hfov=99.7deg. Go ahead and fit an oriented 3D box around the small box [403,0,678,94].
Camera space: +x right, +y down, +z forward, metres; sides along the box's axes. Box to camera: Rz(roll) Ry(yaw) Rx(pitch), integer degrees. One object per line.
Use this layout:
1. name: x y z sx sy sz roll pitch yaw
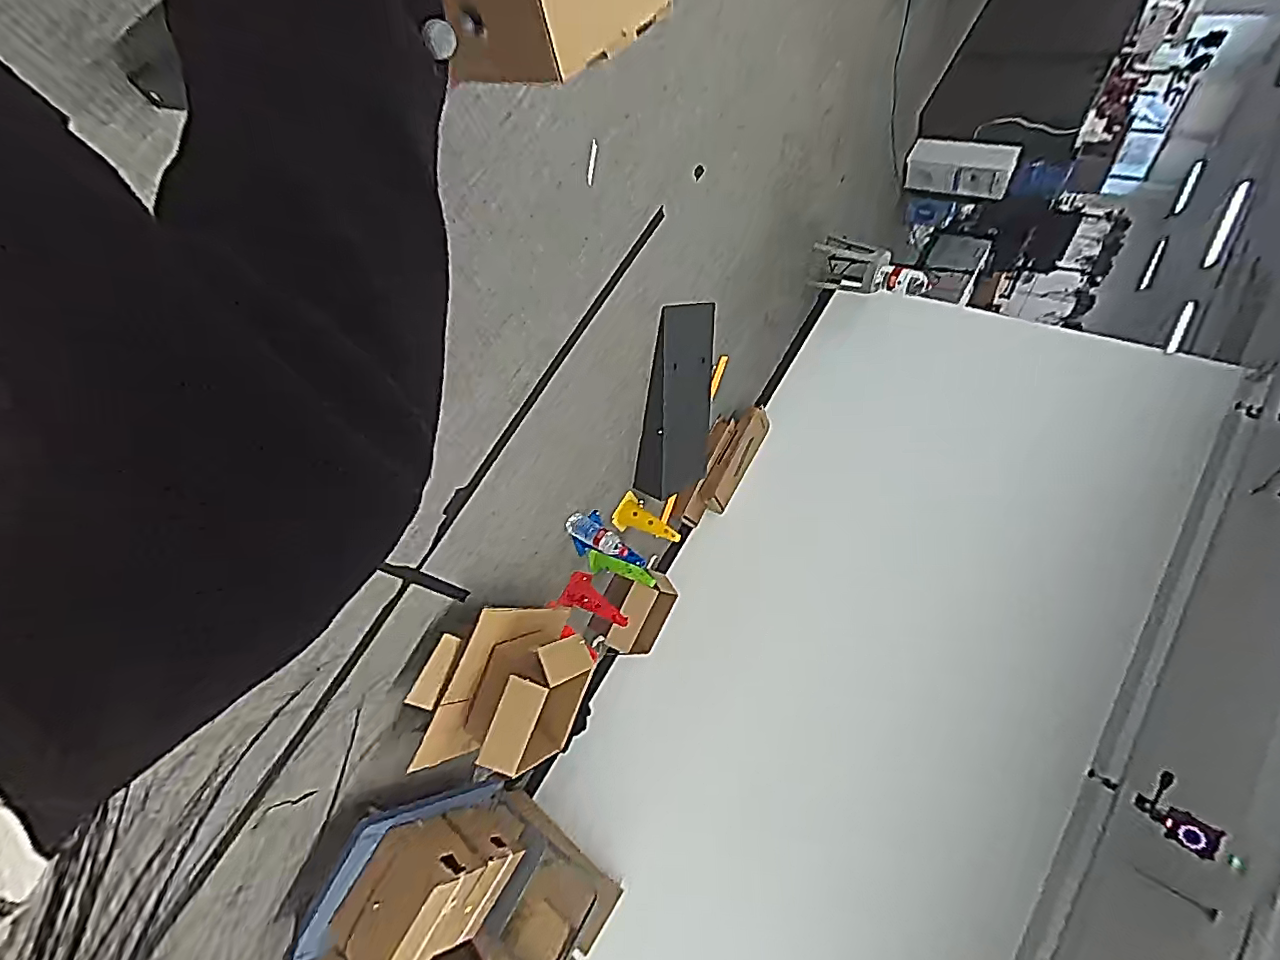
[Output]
1. small box: -0.093 -0.442 0.429 0.168 0.176 0.179 -53 149 -24
